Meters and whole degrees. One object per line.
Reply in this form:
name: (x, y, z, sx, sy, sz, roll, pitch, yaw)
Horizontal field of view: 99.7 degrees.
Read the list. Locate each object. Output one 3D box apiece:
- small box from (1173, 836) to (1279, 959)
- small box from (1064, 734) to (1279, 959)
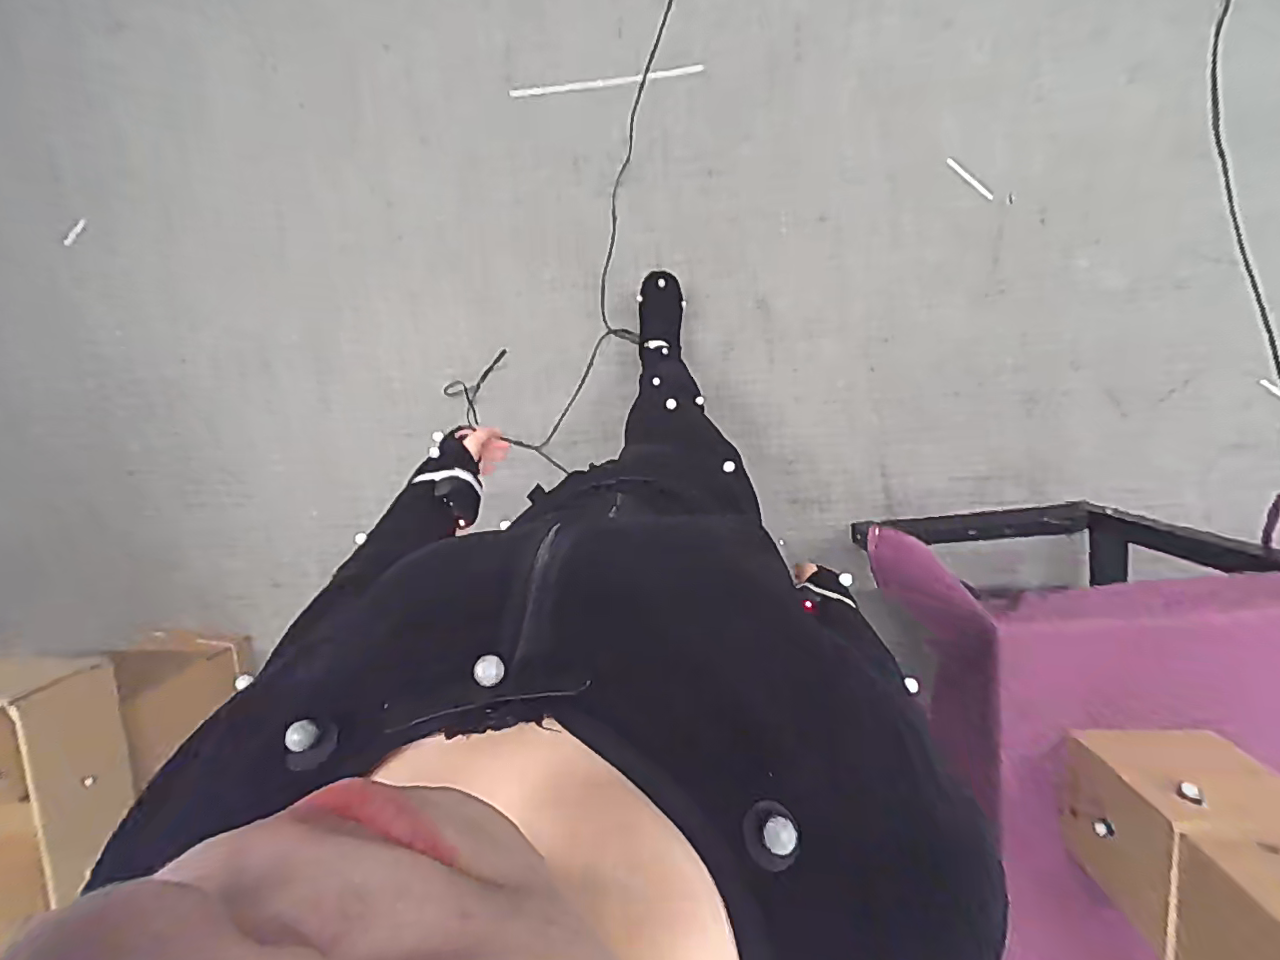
small box: (0.629, 0.451, 0.476, 0.168, 0.176, 0.179, -4, 98, 8)
small box: (0.645, 0.422, 0.636, 0.179, 0.176, 0.168, -2, 99, 6)
